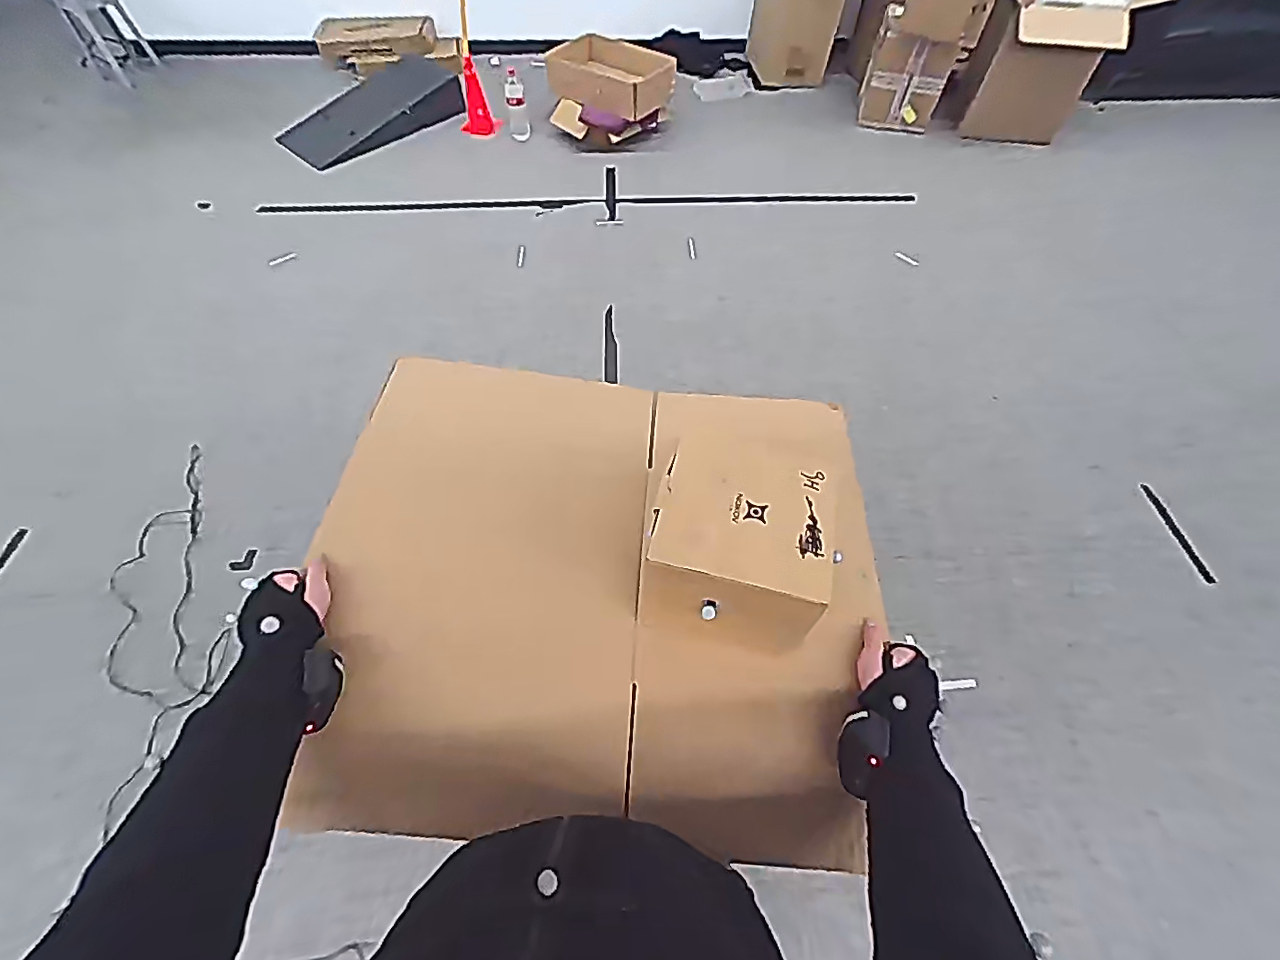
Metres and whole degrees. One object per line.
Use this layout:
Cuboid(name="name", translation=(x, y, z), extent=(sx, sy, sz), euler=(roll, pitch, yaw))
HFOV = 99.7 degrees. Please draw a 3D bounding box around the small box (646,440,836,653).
Cuboid(name="small box", translation=(0.110, 0.081, 0.620), extent=(0.179, 0.176, 0.168), euler=(12, 55, 9))
